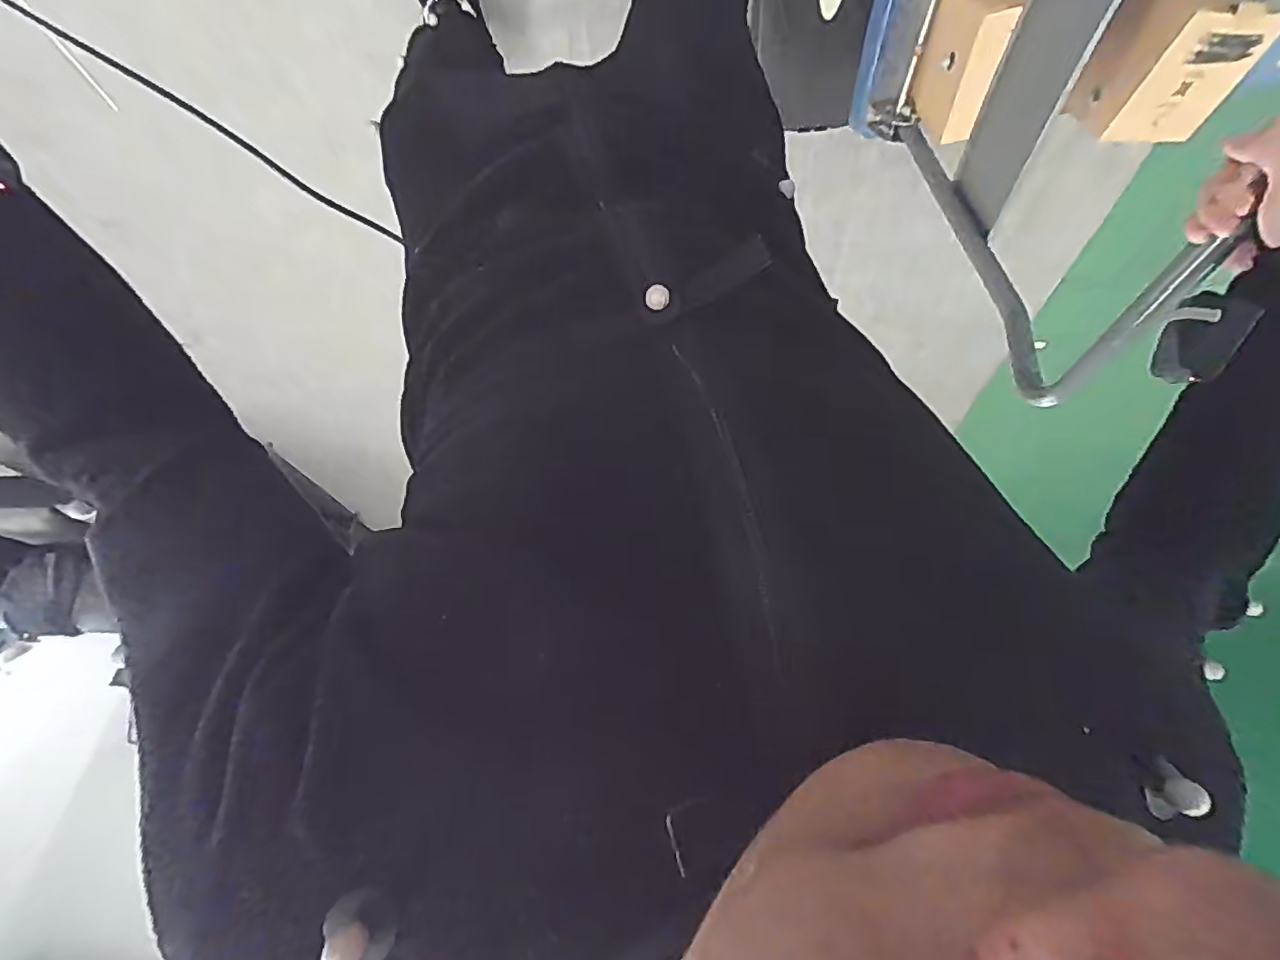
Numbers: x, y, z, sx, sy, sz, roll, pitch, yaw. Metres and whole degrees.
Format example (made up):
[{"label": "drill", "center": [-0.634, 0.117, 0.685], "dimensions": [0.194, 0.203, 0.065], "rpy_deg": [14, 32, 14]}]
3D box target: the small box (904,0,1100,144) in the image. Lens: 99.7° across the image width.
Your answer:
[{"label": "small box", "center": [0.529, -0.658, 0.821], "dimensions": [0.168, 0.176, 0.179], "rpy_deg": [-9, 151, 3]}]
